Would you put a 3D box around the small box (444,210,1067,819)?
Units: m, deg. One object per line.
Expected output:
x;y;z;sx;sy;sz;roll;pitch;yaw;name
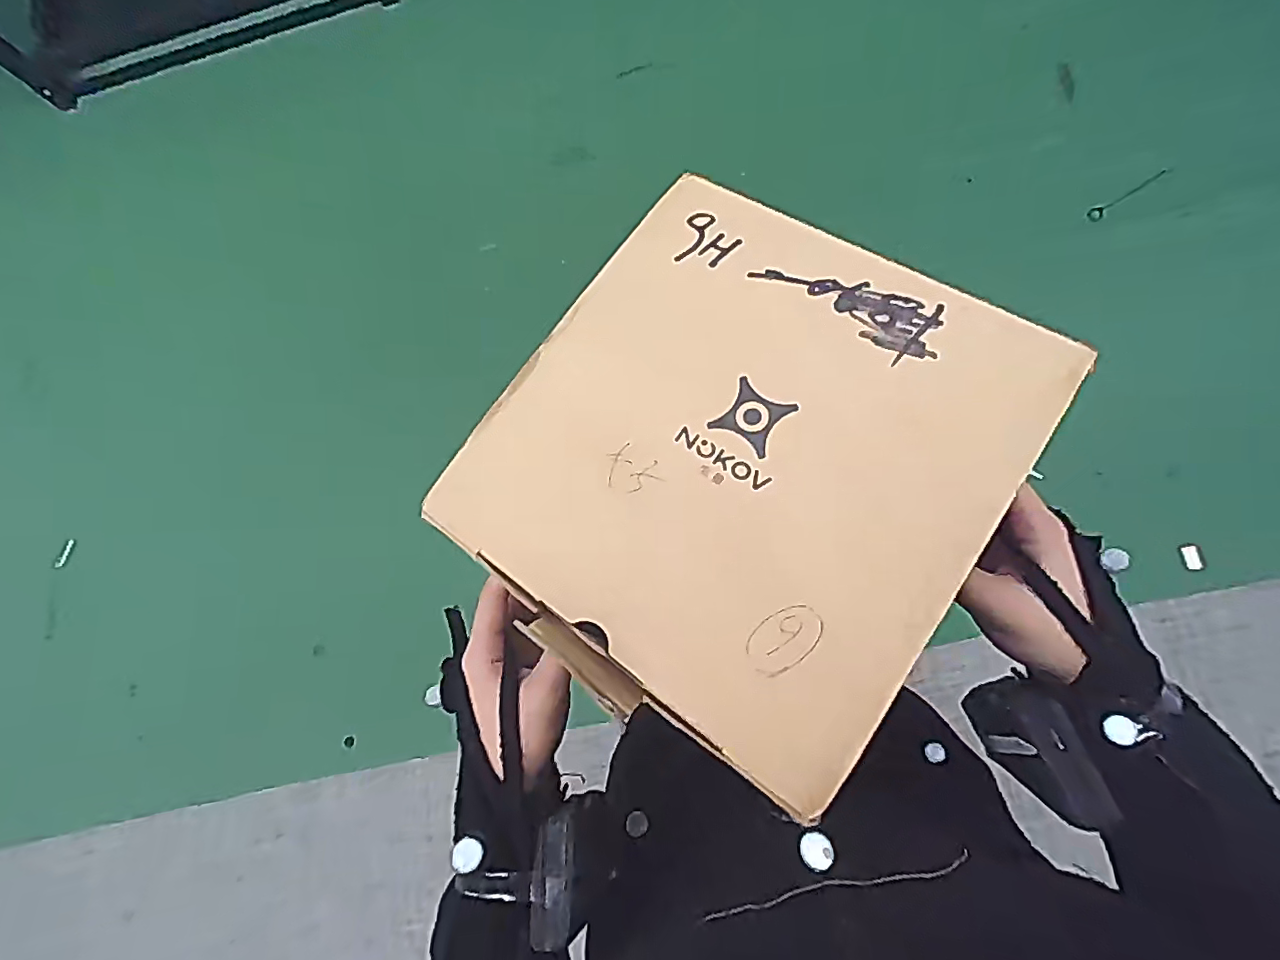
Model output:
0.048;0.016;0.274;0.168;0.176;0.179;33;81;17;small box
